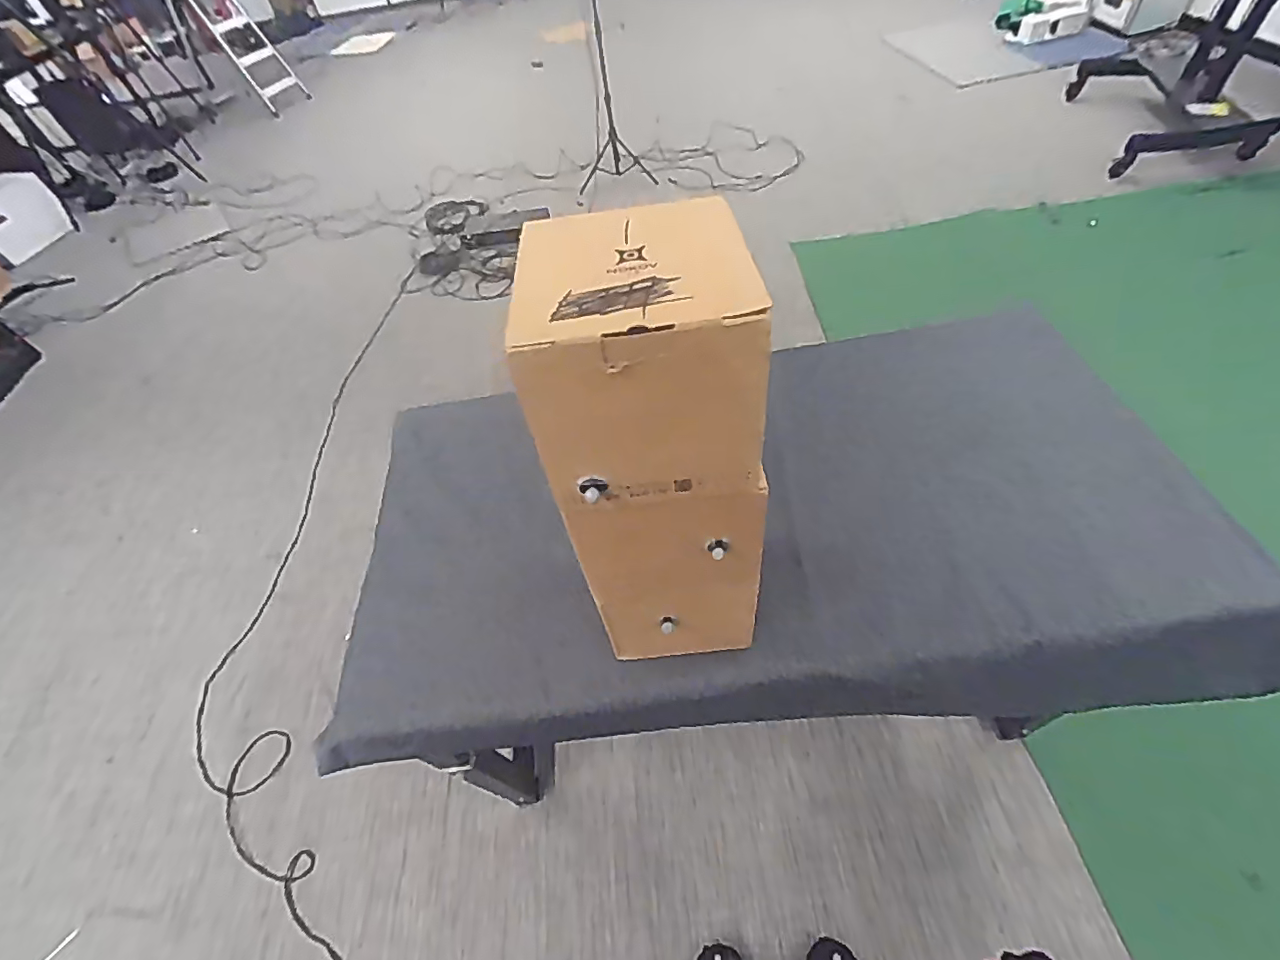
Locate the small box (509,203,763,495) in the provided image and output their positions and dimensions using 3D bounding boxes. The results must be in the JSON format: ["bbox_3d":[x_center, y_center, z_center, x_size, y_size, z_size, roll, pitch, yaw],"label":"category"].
[{"bbox_3d":[0.002,-0.100,0.450,0.168,0.176,0.179,-6,48,2],"label":"small box"}]

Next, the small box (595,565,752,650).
[{"bbox_3d":[0.043,0.108,0.698,0.179,0.176,0.168,-7,50,3],"label":"small box"}]

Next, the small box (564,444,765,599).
[{"bbox_3d":[0.025,0.008,0.572,0.179,0.176,0.168,-8,49,3],"label":"small box"}]
